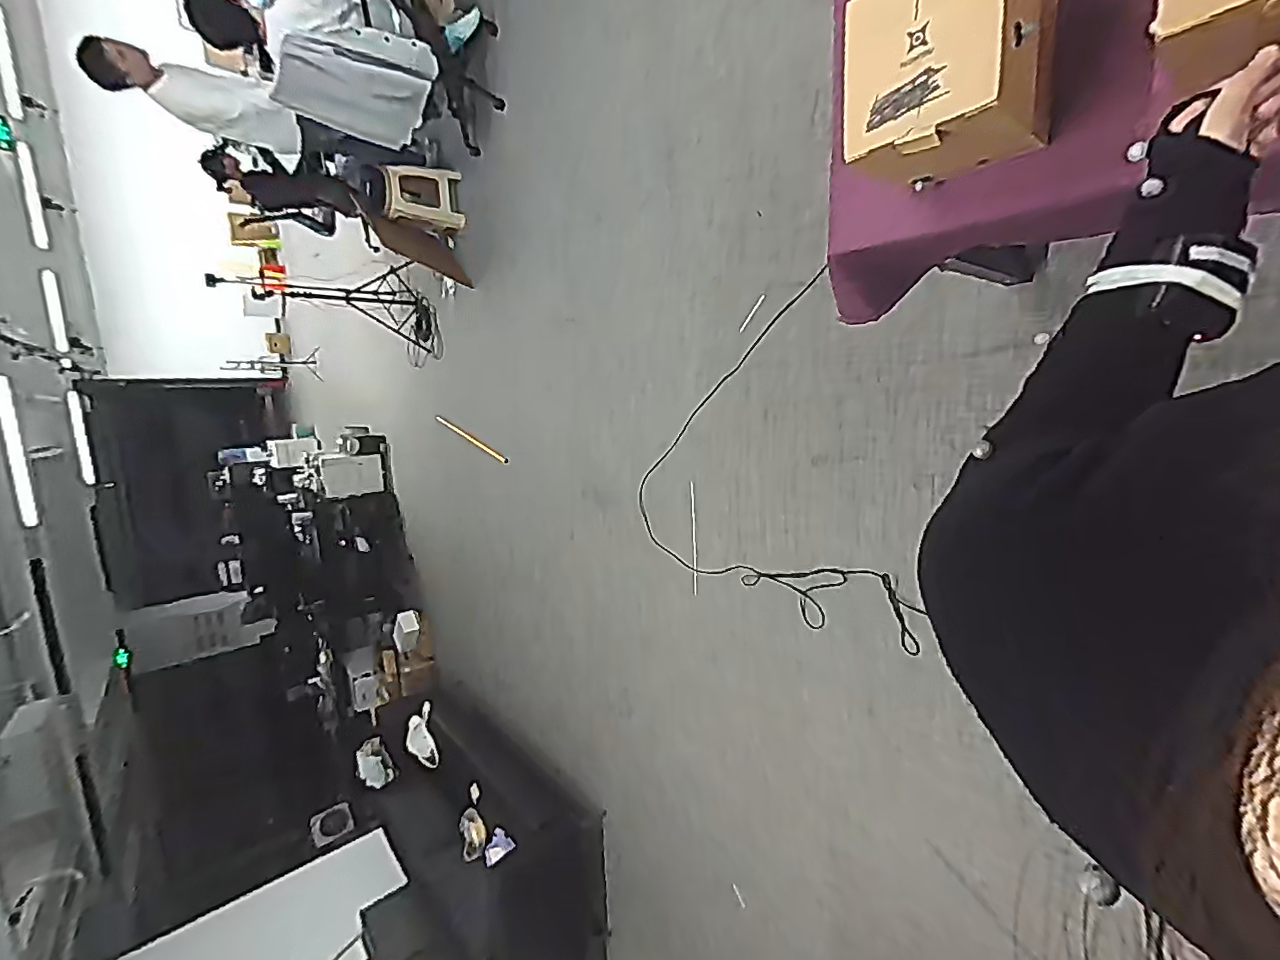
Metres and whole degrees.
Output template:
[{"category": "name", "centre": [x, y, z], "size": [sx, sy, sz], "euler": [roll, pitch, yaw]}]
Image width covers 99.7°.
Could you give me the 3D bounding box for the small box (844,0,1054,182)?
[{"category": "small box", "centre": [0.360, -0.473, 0.634], "size": [0.168, 0.176, 0.179], "euler": [8, 102, 49]}]

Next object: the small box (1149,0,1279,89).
[{"category": "small box", "centre": [0.537, -0.447, 0.425], "size": [0.168, 0.176, 0.179], "euler": [10, 104, 49]}]
